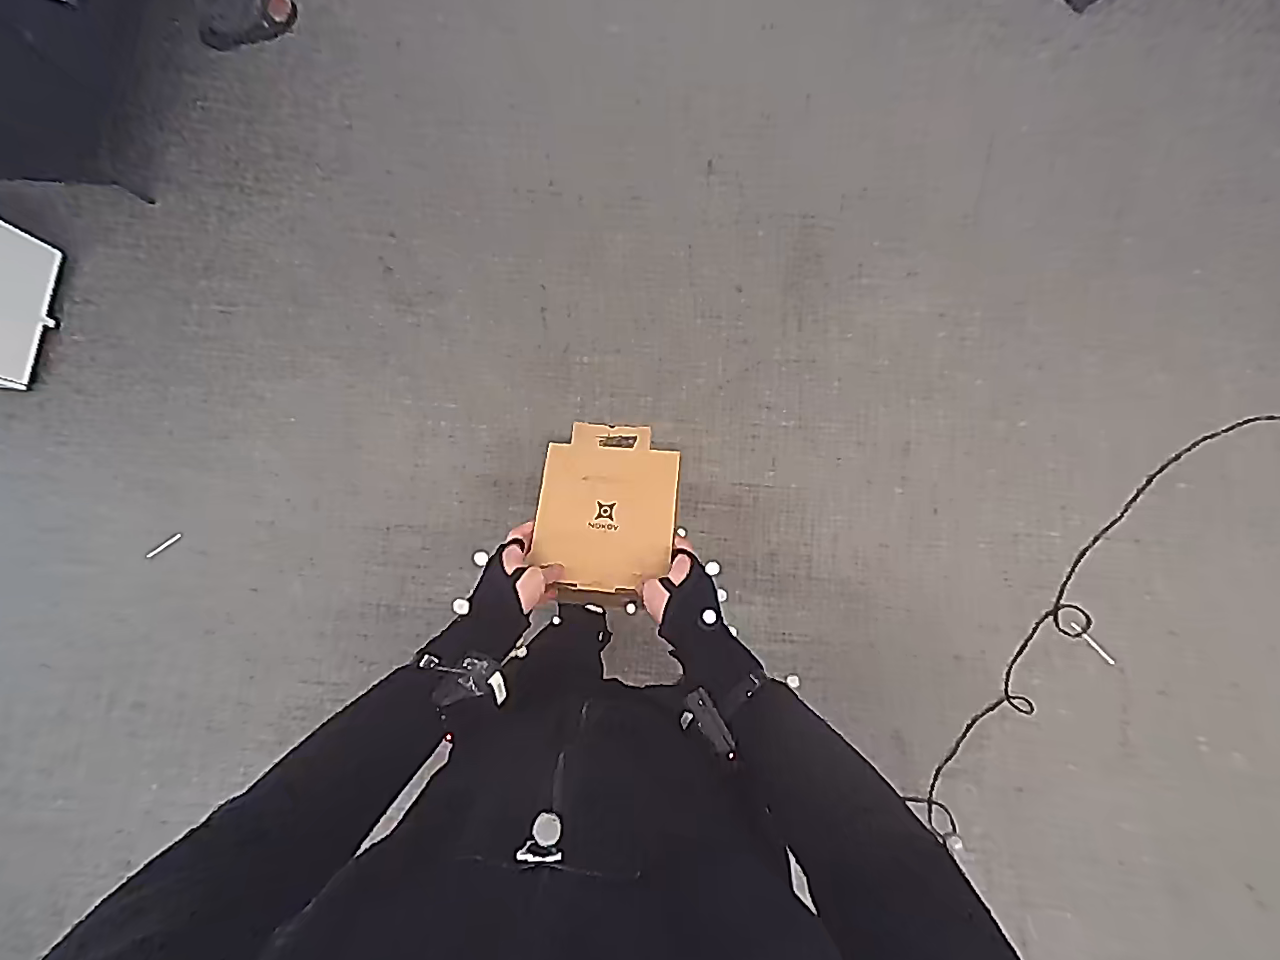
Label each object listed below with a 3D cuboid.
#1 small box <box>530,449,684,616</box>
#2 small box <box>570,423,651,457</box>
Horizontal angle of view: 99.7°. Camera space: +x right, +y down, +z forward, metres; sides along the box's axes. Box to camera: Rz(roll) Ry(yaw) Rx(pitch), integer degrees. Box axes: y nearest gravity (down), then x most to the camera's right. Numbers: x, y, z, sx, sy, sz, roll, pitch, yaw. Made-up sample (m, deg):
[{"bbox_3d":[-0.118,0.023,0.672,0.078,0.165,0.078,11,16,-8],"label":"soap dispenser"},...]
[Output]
[{"bbox_3d":[-0.033,0.077,0.708,0.168,0.176,0.179,5,69,3],"label":"small box"},{"bbox_3d":[-0.068,-0.010,1.186,0.168,0.176,0.179,7,81,2],"label":"small box"}]
